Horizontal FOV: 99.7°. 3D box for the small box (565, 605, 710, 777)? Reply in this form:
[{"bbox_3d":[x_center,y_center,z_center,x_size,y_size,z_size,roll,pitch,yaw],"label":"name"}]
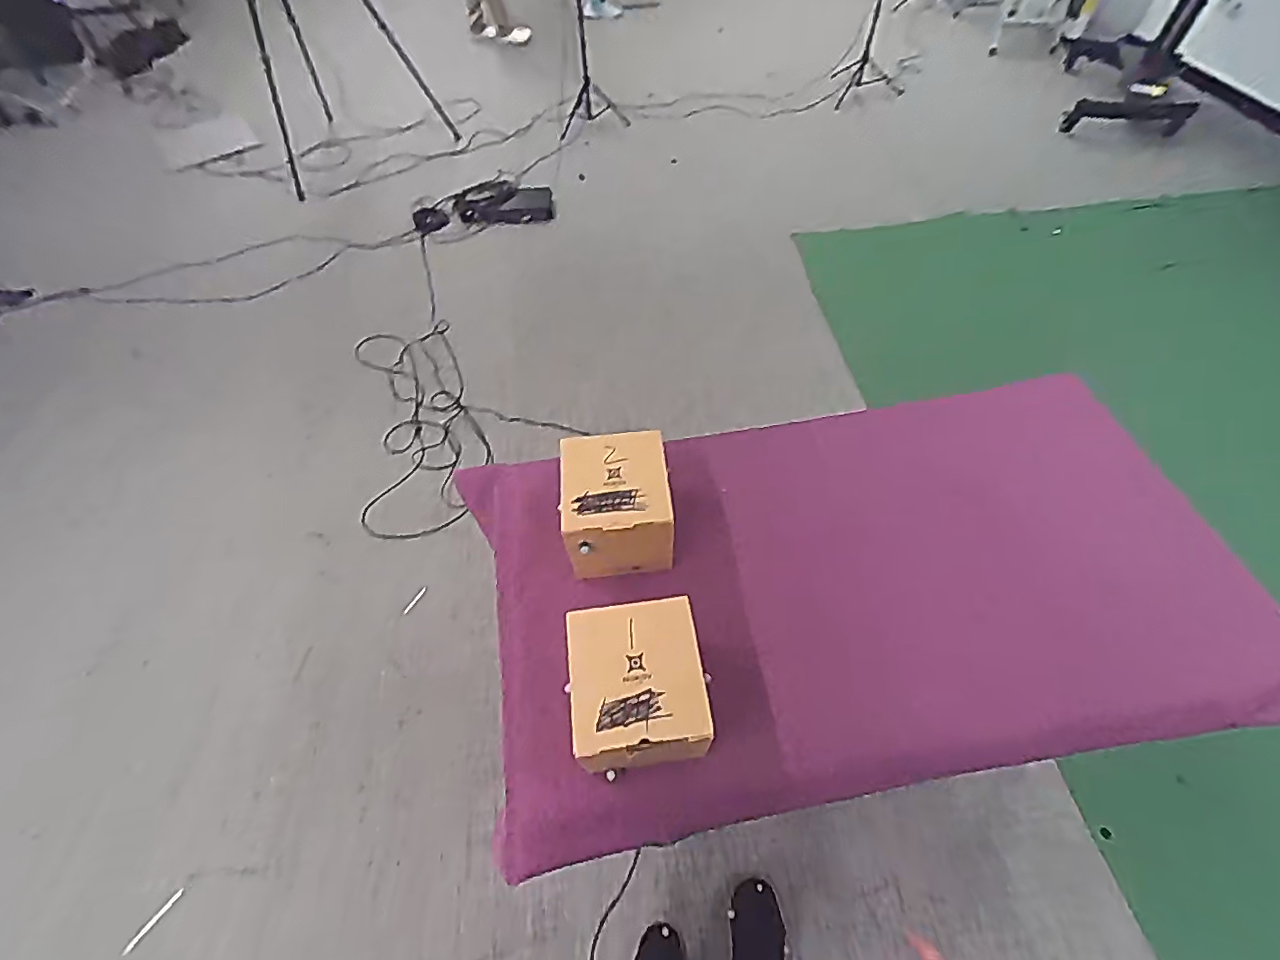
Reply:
[{"bbox_3d":[-0.006,0.290,0.728,0.168,0.176,0.179,-7,55,-3],"label":"small box"}]
